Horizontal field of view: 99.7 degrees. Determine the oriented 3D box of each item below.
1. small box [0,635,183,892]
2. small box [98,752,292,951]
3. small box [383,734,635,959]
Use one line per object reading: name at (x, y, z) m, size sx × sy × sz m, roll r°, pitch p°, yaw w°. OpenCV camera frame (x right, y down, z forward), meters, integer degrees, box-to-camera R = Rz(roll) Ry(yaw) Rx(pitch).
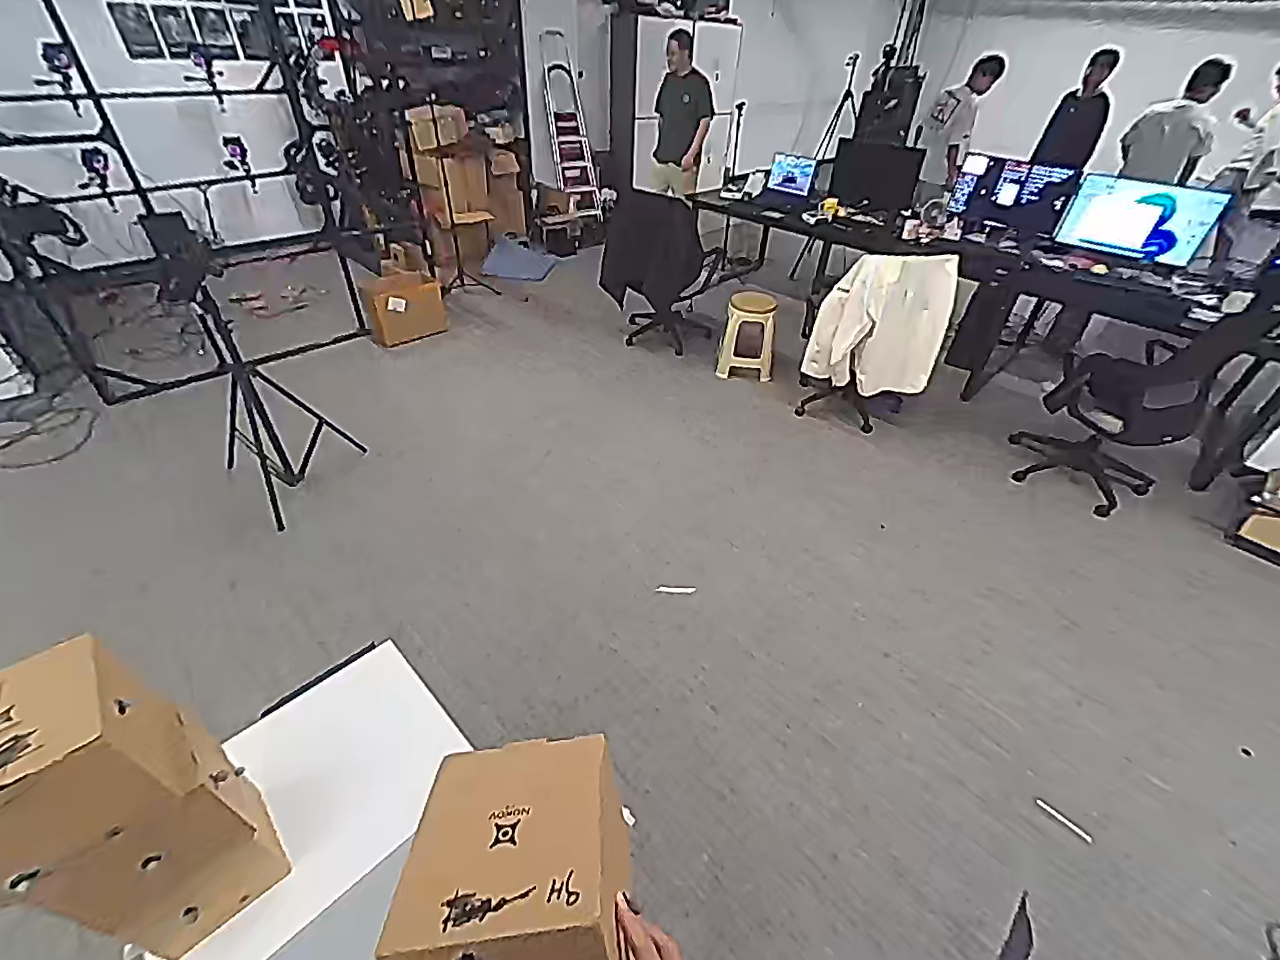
small box at (-0.665, 0.323, 0.615) m, size 0.168 × 0.176 × 0.179 m, roll -28°, pitch 47°, yaw -32°
small box at (-0.674, 0.571, 0.831) m, size 0.168 × 0.176 × 0.179 m, roll -31°, pitch 49°, yaw -34°
small box at (-0.098, 0.370, 0.491) m, size 0.168 × 0.176 × 0.179 m, roll -9°, pitch 20°, yaw 1°
